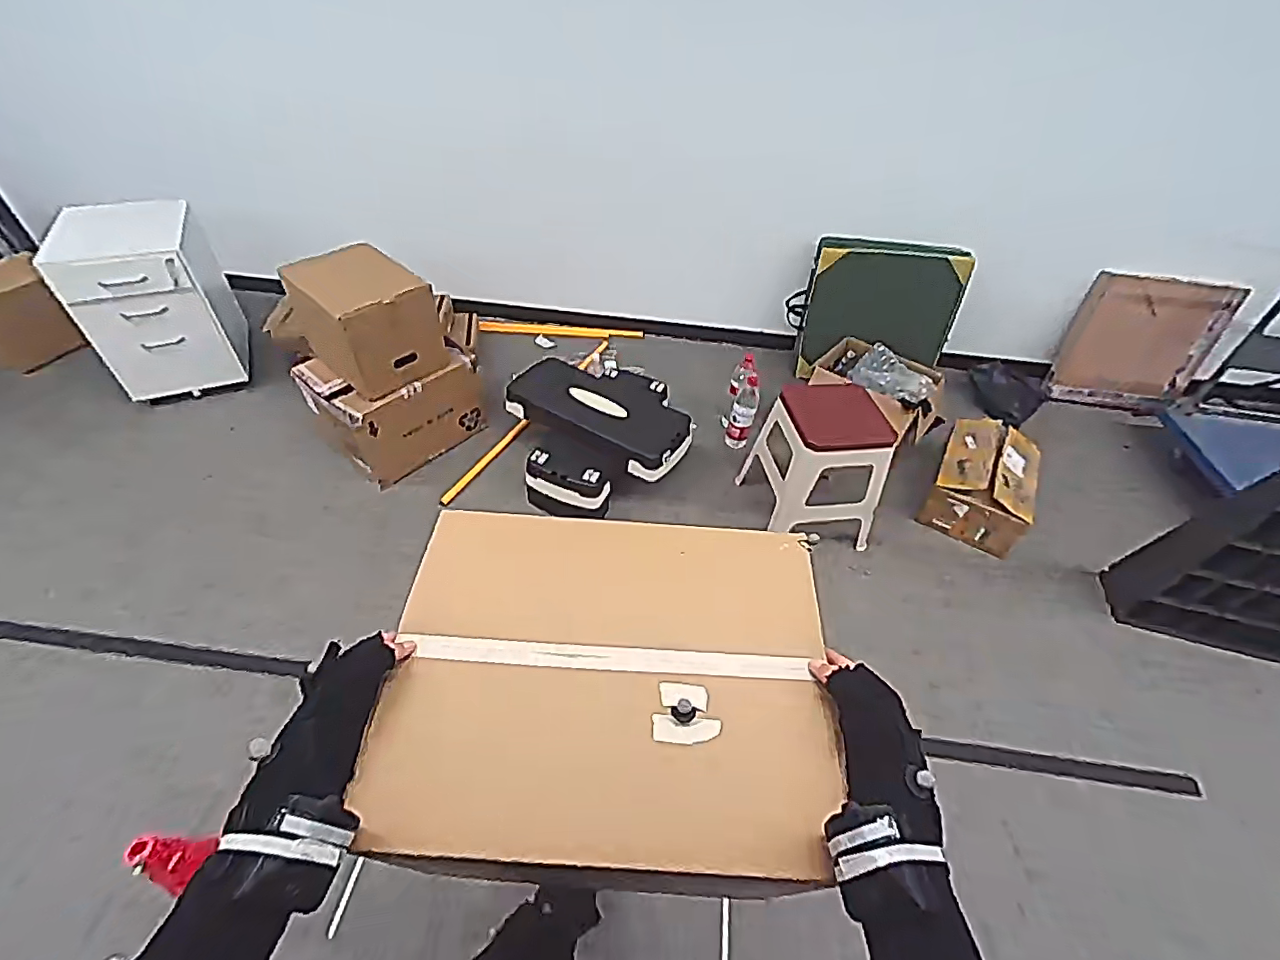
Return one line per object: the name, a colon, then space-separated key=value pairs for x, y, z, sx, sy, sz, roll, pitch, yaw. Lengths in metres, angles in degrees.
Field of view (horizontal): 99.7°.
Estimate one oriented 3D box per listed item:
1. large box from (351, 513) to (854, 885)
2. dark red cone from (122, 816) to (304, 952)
large box: x=-0.031 y=0.261 z=0.628 sx=0.408 sy=0.320 sz=0.320 roll=4 pitch=51 yaw=0
dark red cone: x=-0.823 y=0.708 z=0.998 sx=0.201 sy=0.394 sz=0.202 roll=12 pitch=46 yaw=6
